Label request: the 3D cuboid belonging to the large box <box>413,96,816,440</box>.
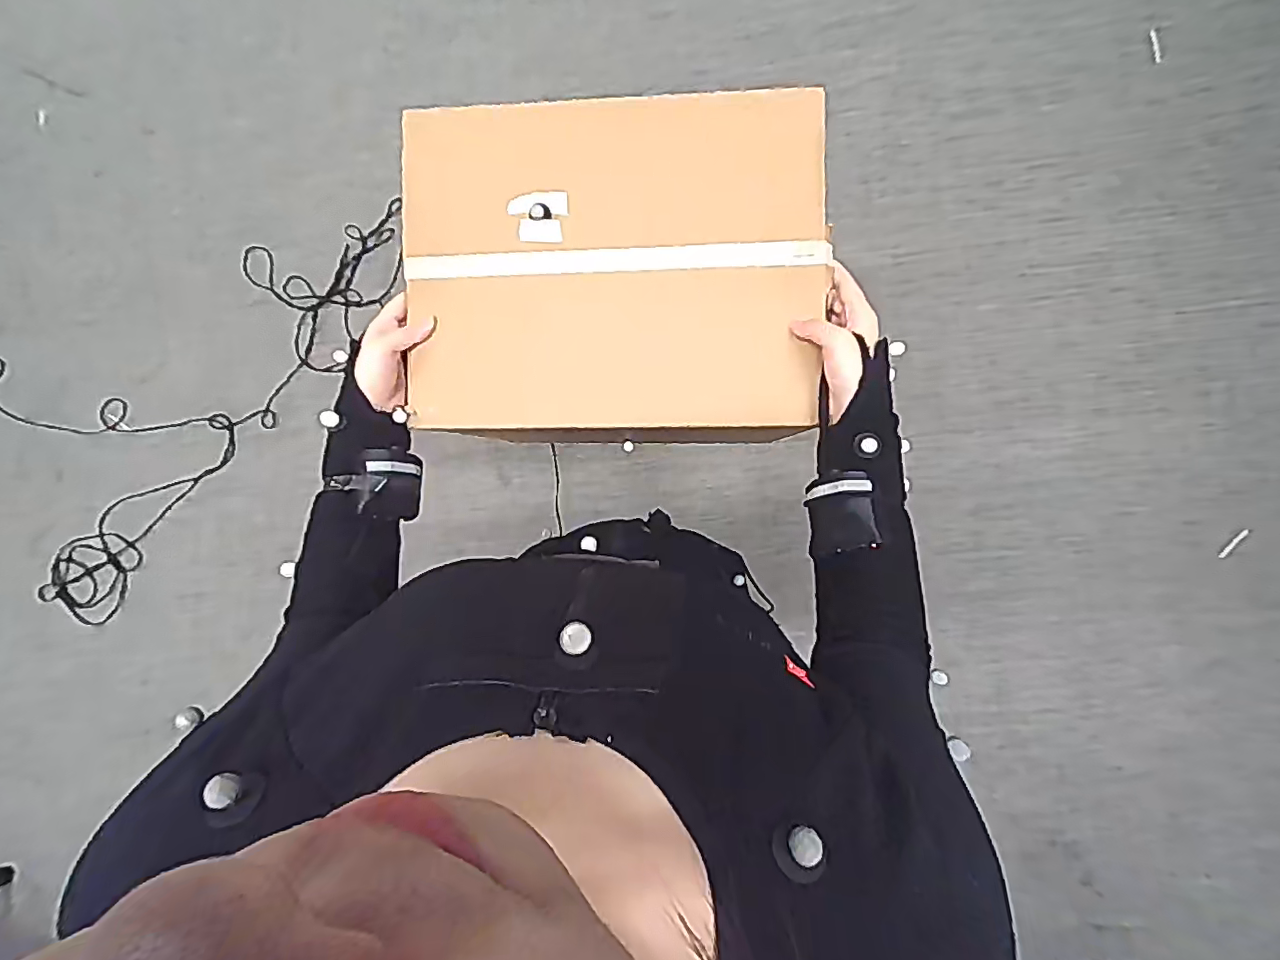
[{"bbox_3d":[-0.015,-0.211,0.680,0.408,0.320,0.320,0,91,6],"label":"large box"}]
